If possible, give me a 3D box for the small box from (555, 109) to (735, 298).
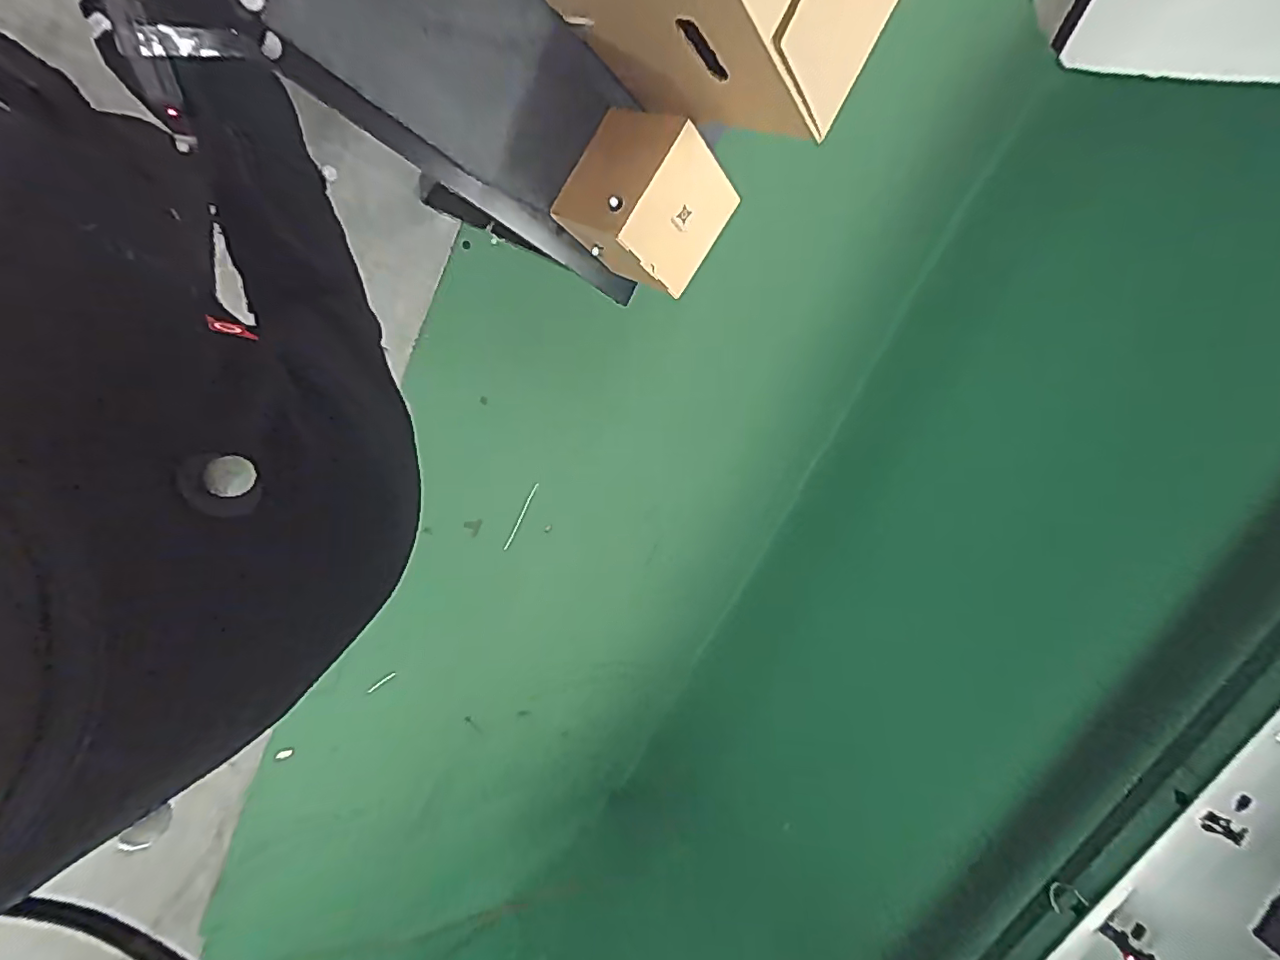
[{"bbox_3d":[0.005,-0.414,0.811,0.179,0.176,0.168,-56,145,8],"label":"small box"}]
